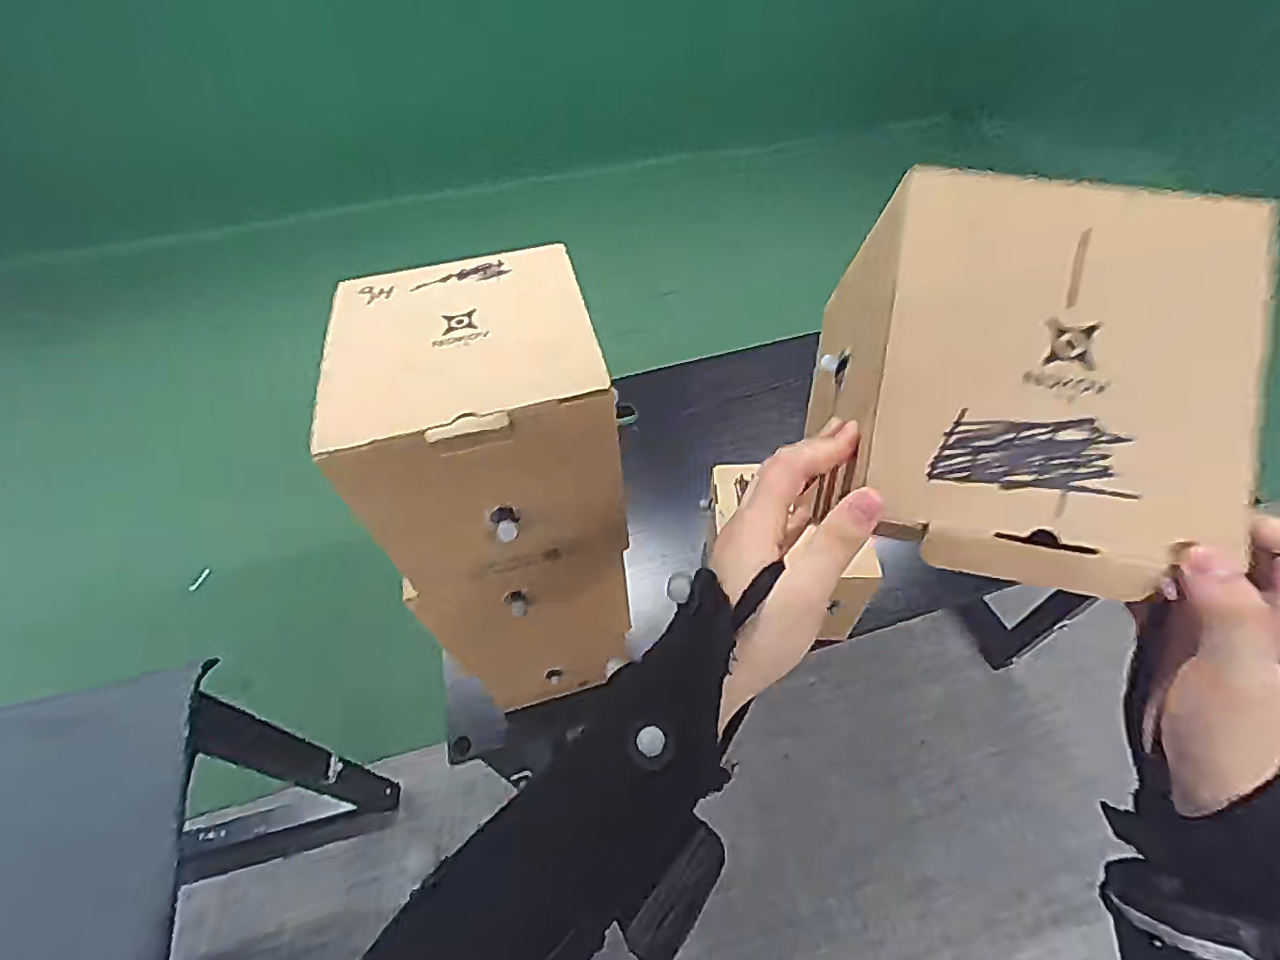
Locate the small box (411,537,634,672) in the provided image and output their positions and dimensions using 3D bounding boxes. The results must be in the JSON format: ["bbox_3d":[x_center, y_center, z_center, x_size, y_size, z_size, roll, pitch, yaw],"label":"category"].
[{"bbox_3d":[-0.108,0.064,0.531,0.179,0.176,0.168,-14,52,-8],"label":"small box"}]

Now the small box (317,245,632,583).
[{"bbox_3d":[-0.106,-0.041,0.403,0.168,0.176,0.179,-13,52,-6],"label":"small box"}]

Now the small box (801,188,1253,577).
[{"bbox_3d":[0.207,-0.044,0.341,0.168,0.176,0.179,10,83,6],"label":"small box"}]

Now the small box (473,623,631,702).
[{"bbox_3d":[-0.111,0.155,0.666,0.168,0.176,0.179,-13,51,-9],"label":"small box"}]
